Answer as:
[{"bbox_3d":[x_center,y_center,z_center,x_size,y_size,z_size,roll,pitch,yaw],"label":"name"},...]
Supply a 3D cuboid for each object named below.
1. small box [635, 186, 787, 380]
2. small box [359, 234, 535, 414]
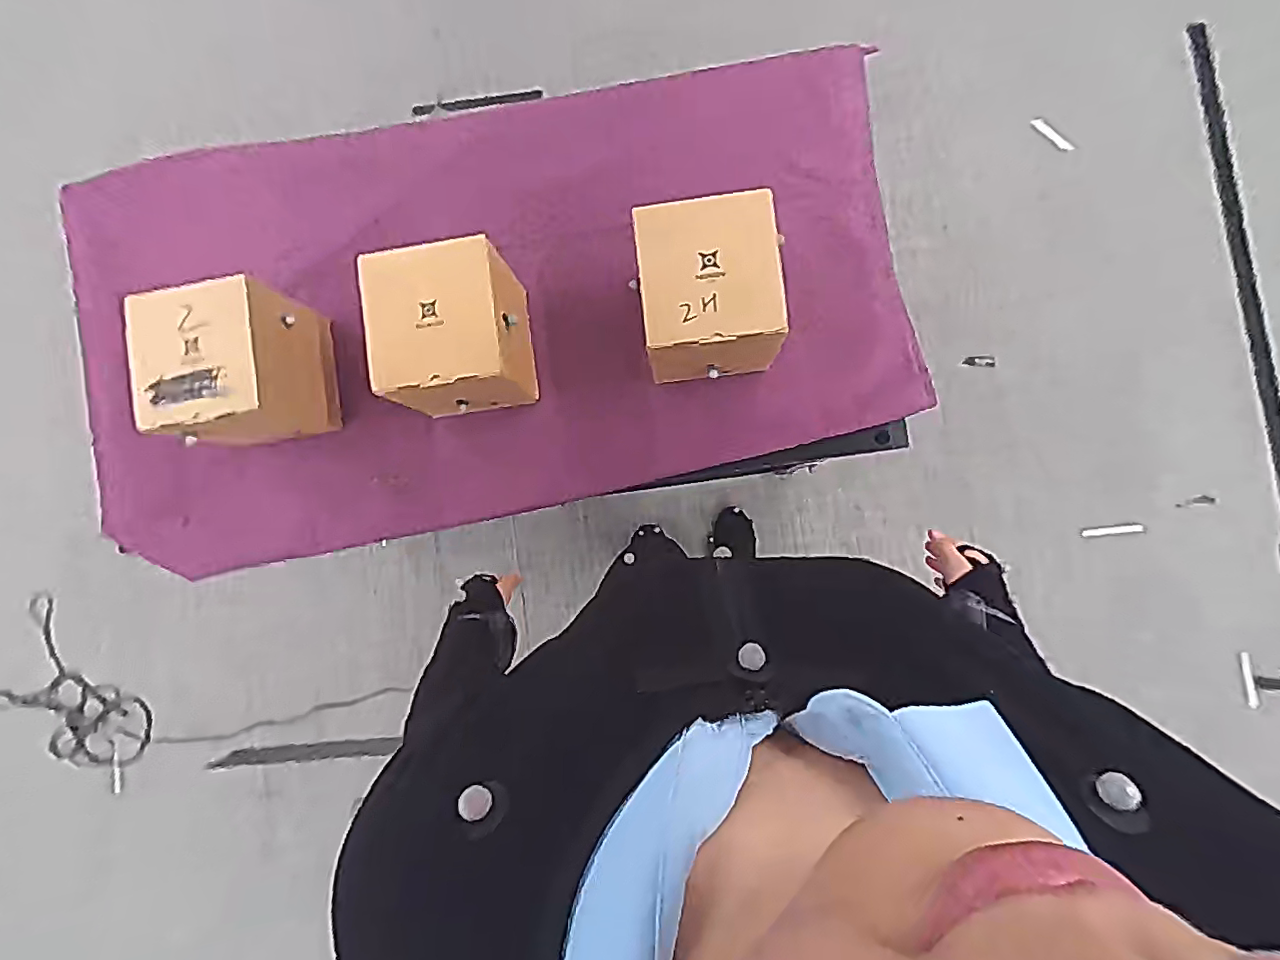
[{"bbox_3d":[0.086,-0.245,0.709,0.168,0.176,0.179,-6,86,5],"label":"small box"},{"bbox_3d":[-0.250,-0.199,0.735,0.168,0.176,0.179,-8,87,4],"label":"small box"}]
